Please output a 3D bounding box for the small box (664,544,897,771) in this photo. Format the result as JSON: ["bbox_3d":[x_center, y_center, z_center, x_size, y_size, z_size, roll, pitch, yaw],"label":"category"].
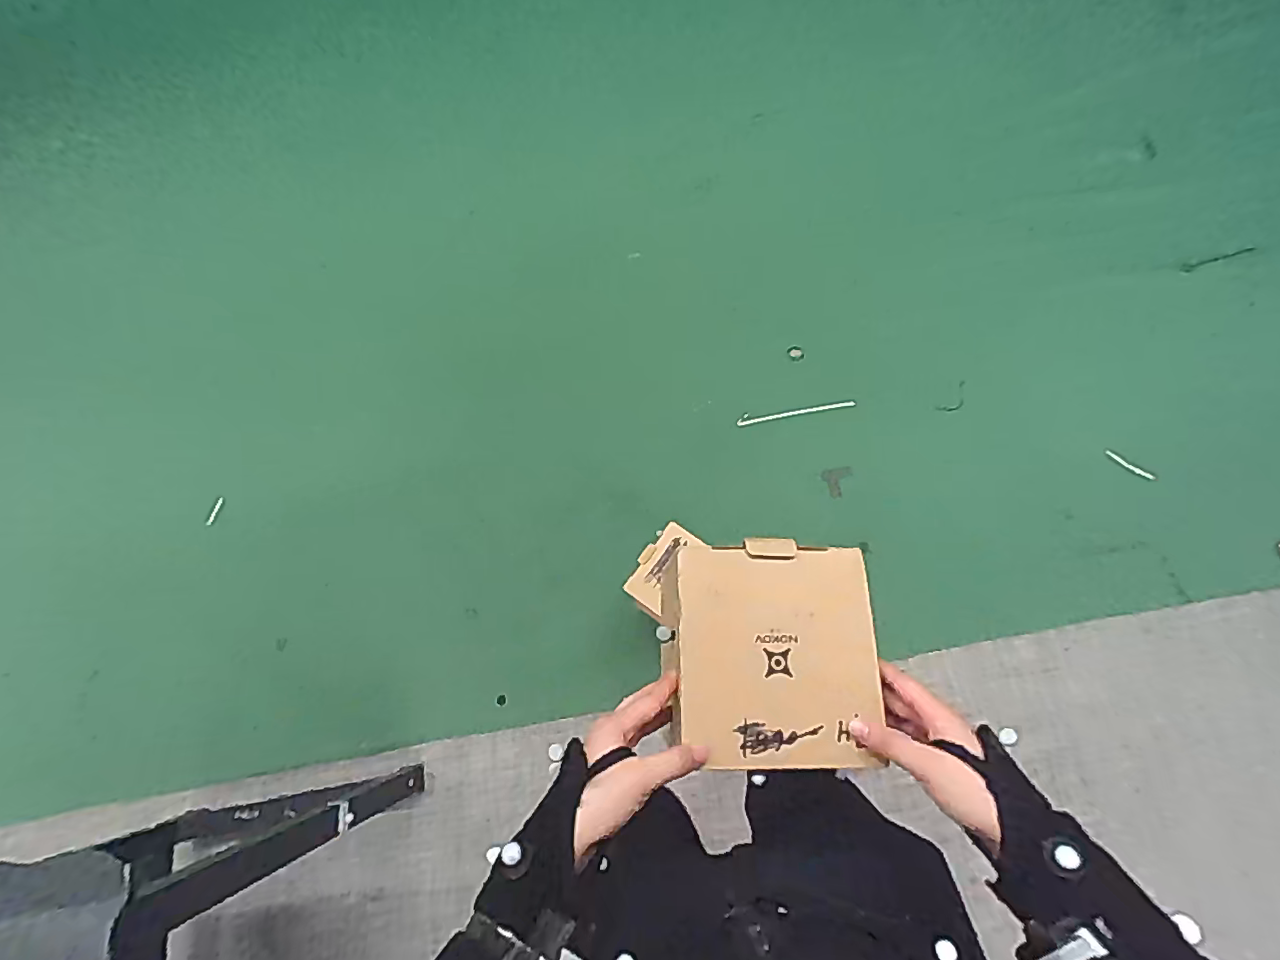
[{"bbox_3d":[0.113,0.163,0.513,0.168,0.176,0.179,1,73,-3],"label":"small box"}]

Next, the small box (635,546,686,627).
[{"bbox_3d":[0.112,0.276,1.248,0.179,0.176,0.168,34,79,14],"label":"small box"}]
